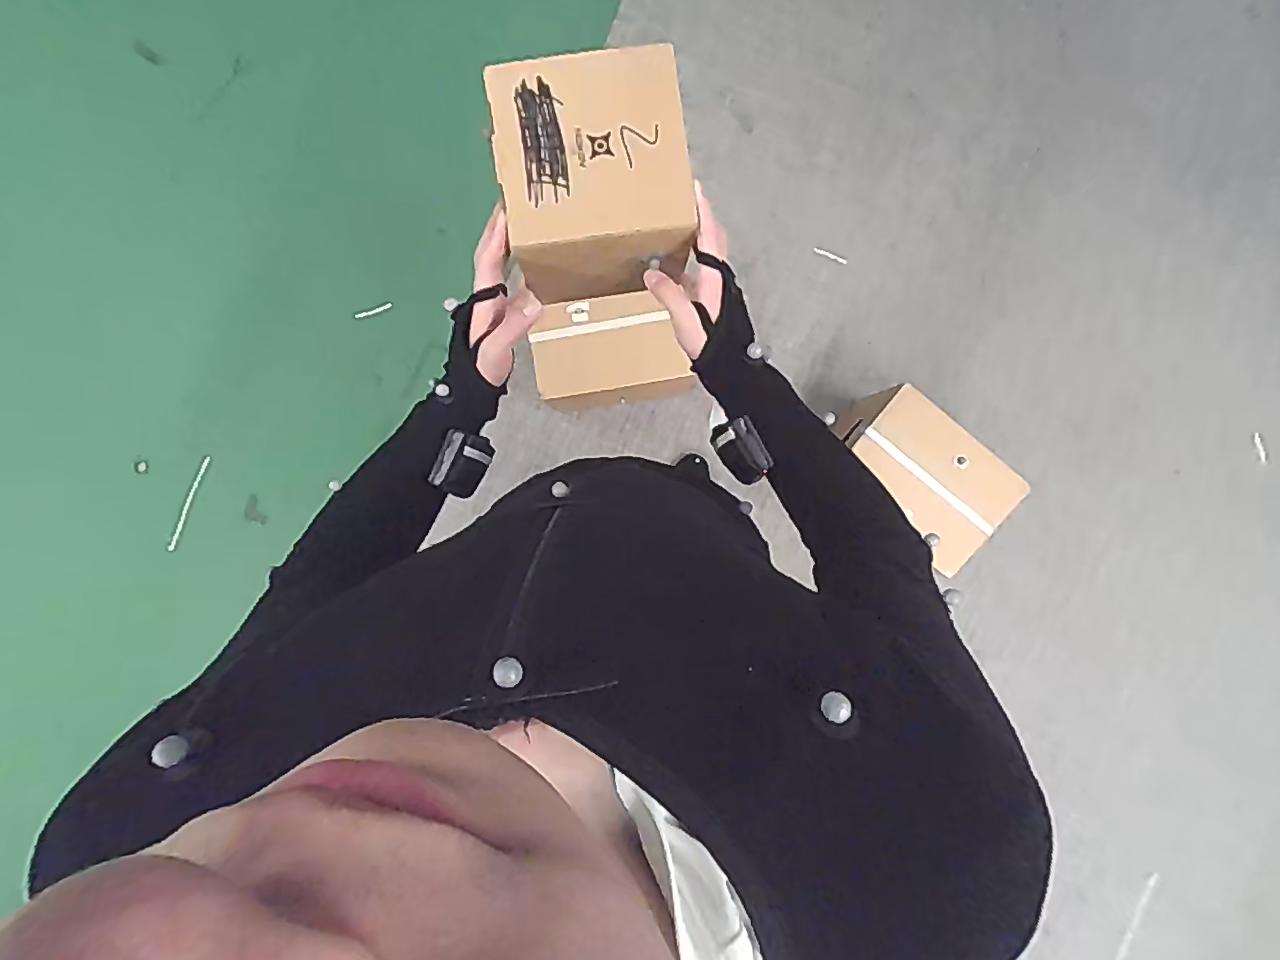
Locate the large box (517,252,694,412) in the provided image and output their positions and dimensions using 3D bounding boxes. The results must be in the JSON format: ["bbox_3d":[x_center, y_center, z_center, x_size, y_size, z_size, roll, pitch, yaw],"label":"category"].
[{"bbox_3d":[-0.082,-0.384,1.491,0.408,0.320,0.320,-10,90,1],"label":"large box"}]
